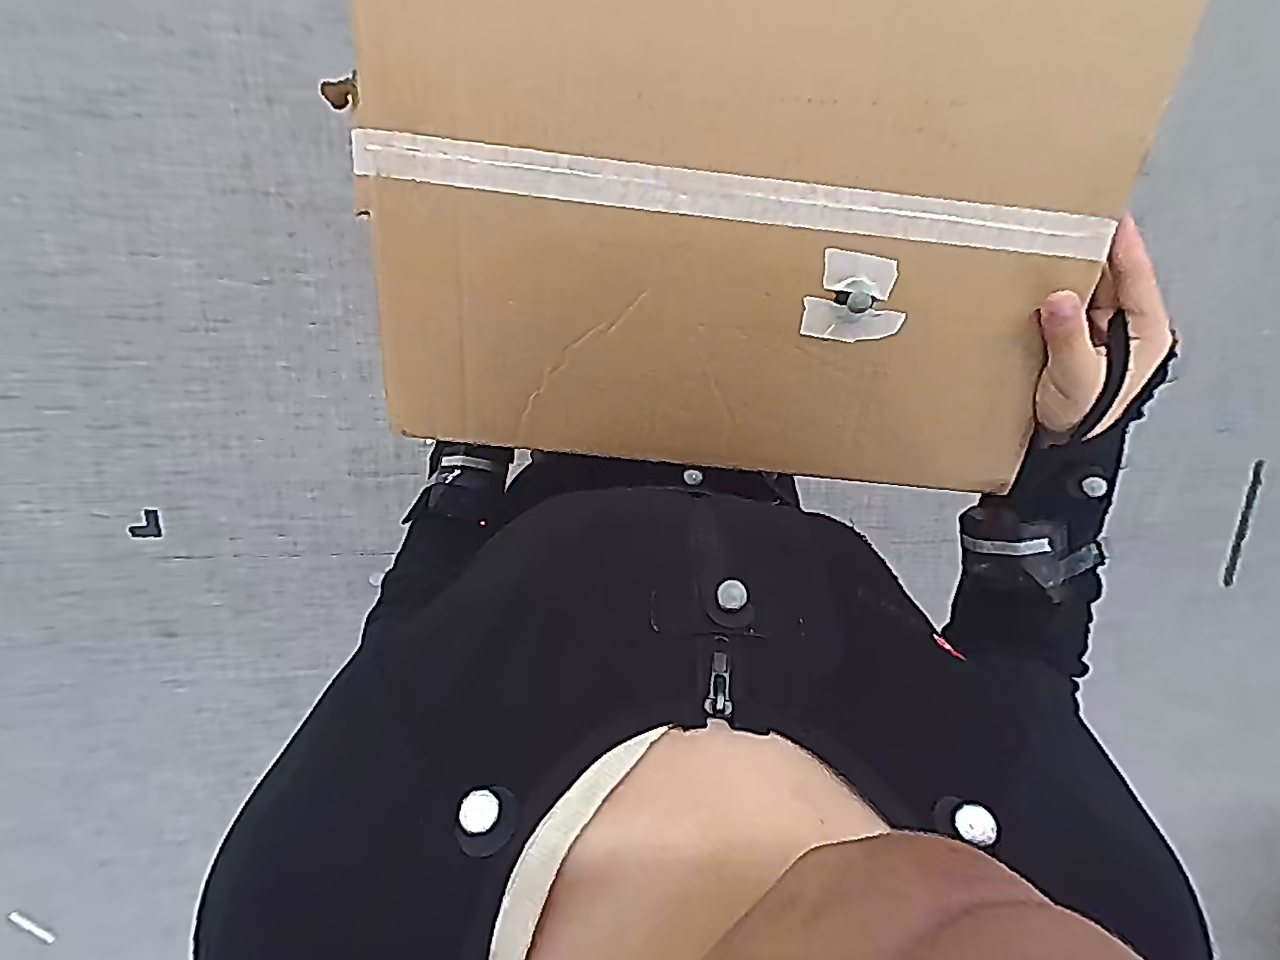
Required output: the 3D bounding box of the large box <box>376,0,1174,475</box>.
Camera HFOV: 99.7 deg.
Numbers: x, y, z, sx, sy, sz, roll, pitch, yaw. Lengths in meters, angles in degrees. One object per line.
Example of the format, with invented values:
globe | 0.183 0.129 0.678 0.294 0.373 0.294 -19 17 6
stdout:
large box | 0.056 -0.212 0.439 0.408 0.320 0.320 4 113 -4
